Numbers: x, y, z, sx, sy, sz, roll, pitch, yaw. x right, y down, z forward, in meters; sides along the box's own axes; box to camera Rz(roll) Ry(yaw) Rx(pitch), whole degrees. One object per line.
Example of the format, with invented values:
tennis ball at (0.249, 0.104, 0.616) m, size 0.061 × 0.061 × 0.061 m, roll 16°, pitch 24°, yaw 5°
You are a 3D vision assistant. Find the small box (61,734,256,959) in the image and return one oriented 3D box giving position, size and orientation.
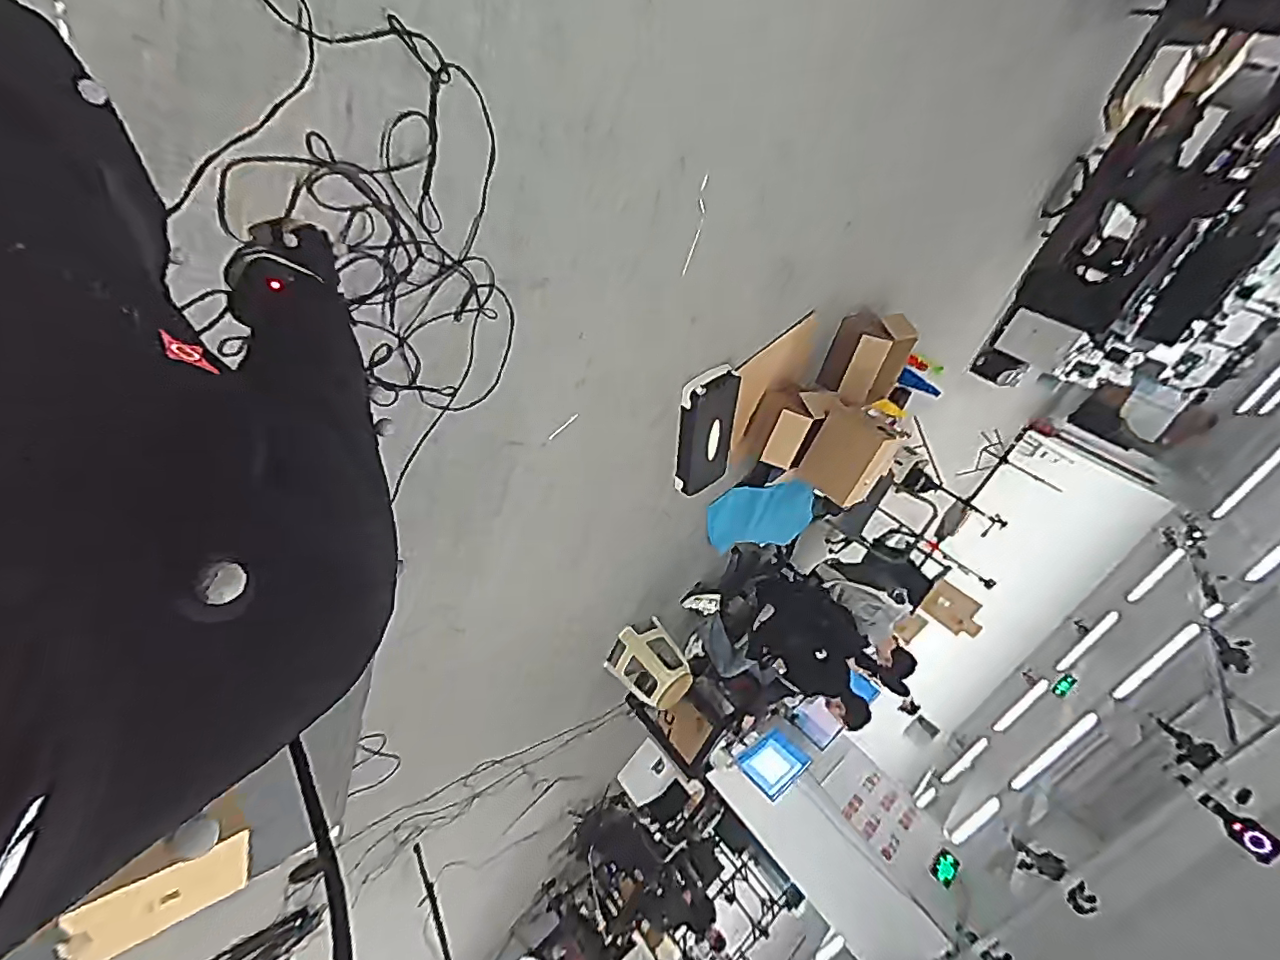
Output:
small box at (-0.648, 0.490, 0.732) m, size 0.179 × 0.176 × 0.168 m, roll -10°, pitch 133°, yaw -46°
